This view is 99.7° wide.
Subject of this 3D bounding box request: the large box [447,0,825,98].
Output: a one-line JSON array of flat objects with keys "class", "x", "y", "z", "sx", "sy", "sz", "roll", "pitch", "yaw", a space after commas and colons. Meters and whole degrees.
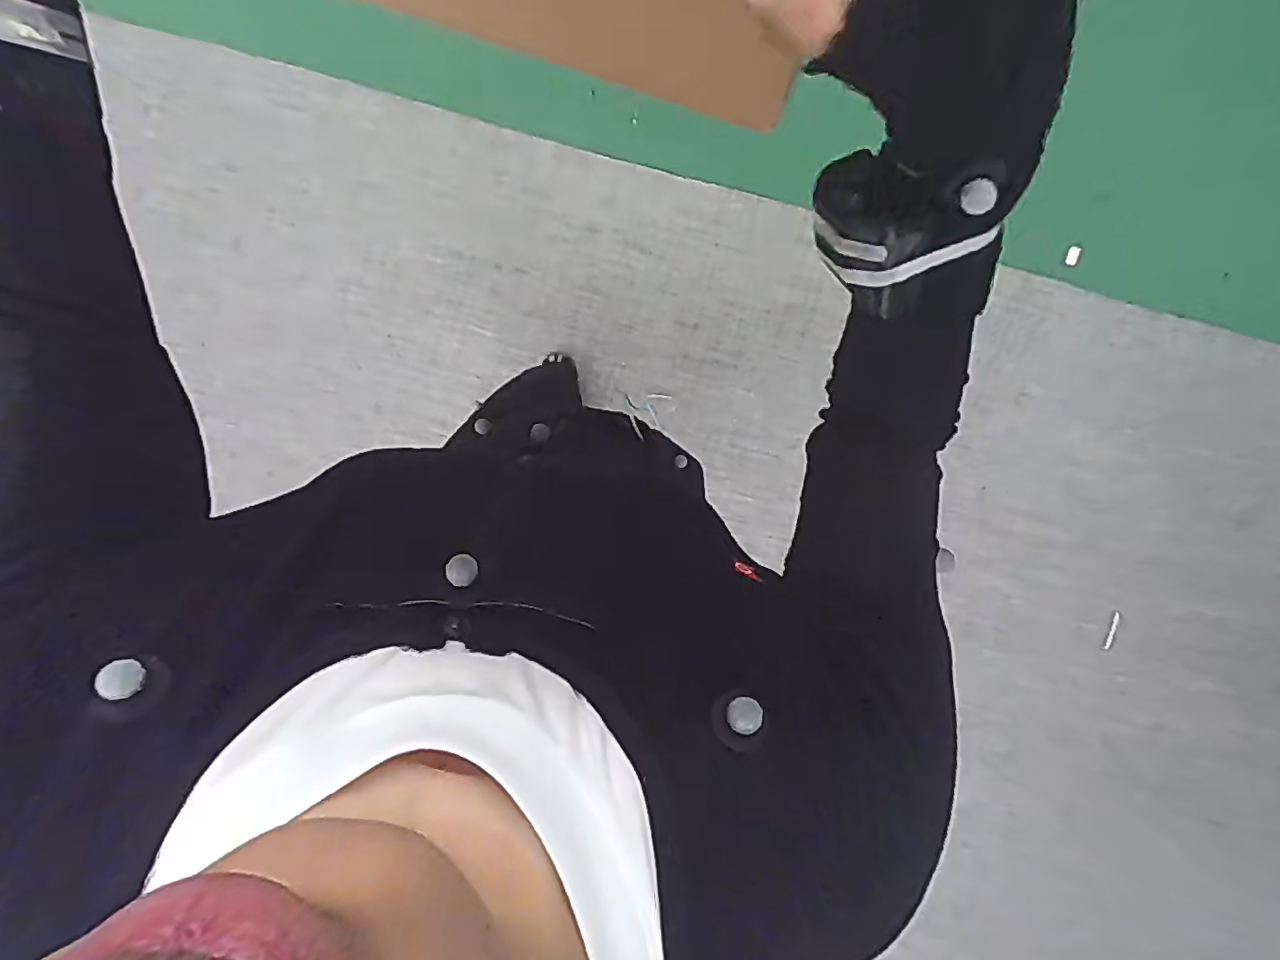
[{"class": "large box", "x": -0.077, "y": -0.378, "z": 0.111, "sx": 0.408, "sy": 0.320, "sz": 0.320, "roll": 20, "pitch": 94, "yaw": 3}]
